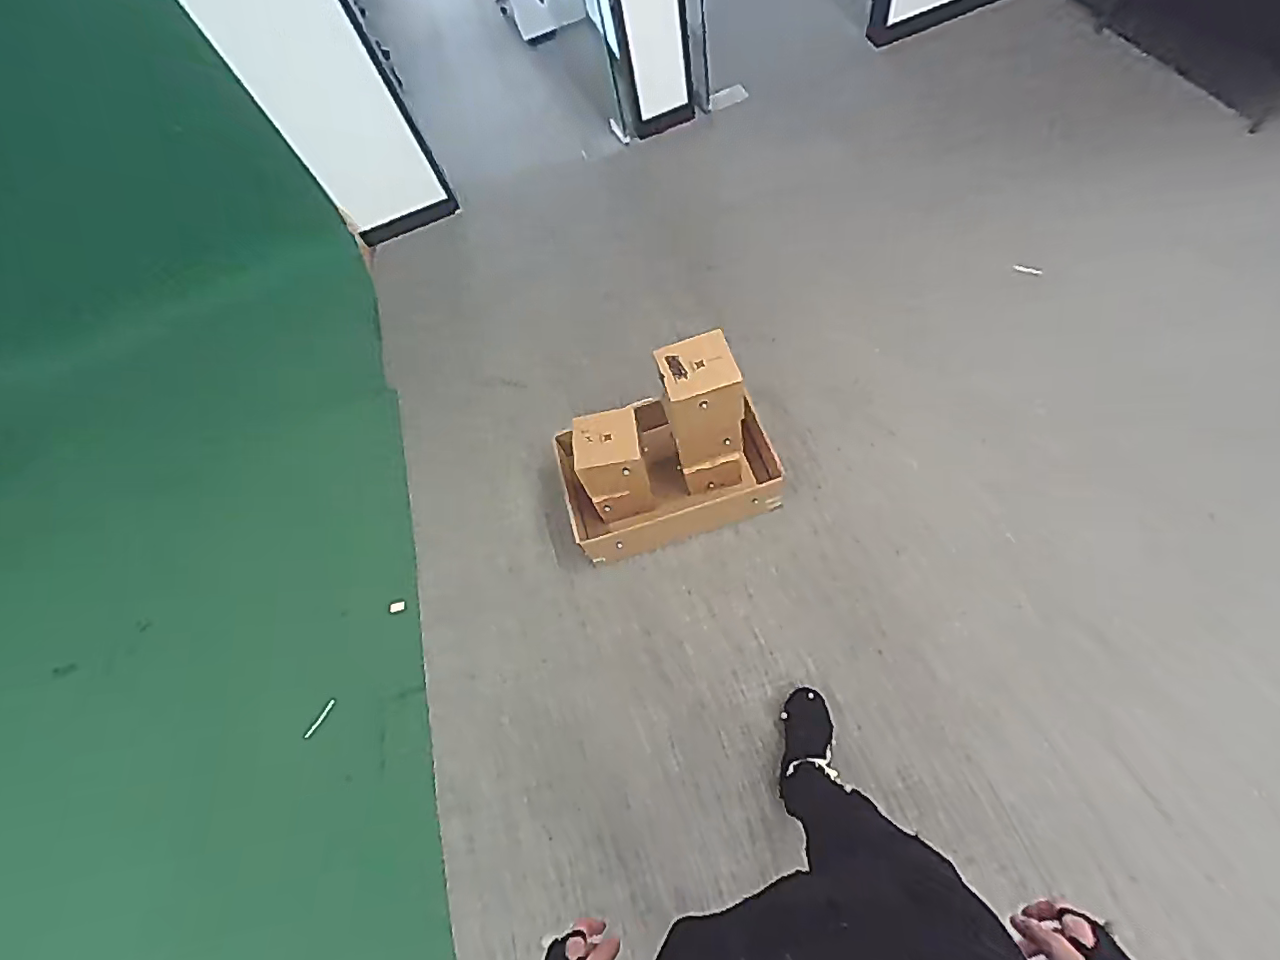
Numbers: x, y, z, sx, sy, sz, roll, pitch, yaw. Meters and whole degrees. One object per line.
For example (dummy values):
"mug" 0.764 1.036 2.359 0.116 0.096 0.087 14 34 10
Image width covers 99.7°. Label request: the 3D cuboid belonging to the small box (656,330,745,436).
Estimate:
"small box" 0.154 -0.234 1.342 0.179 0.176 0.168 -17 62 3
